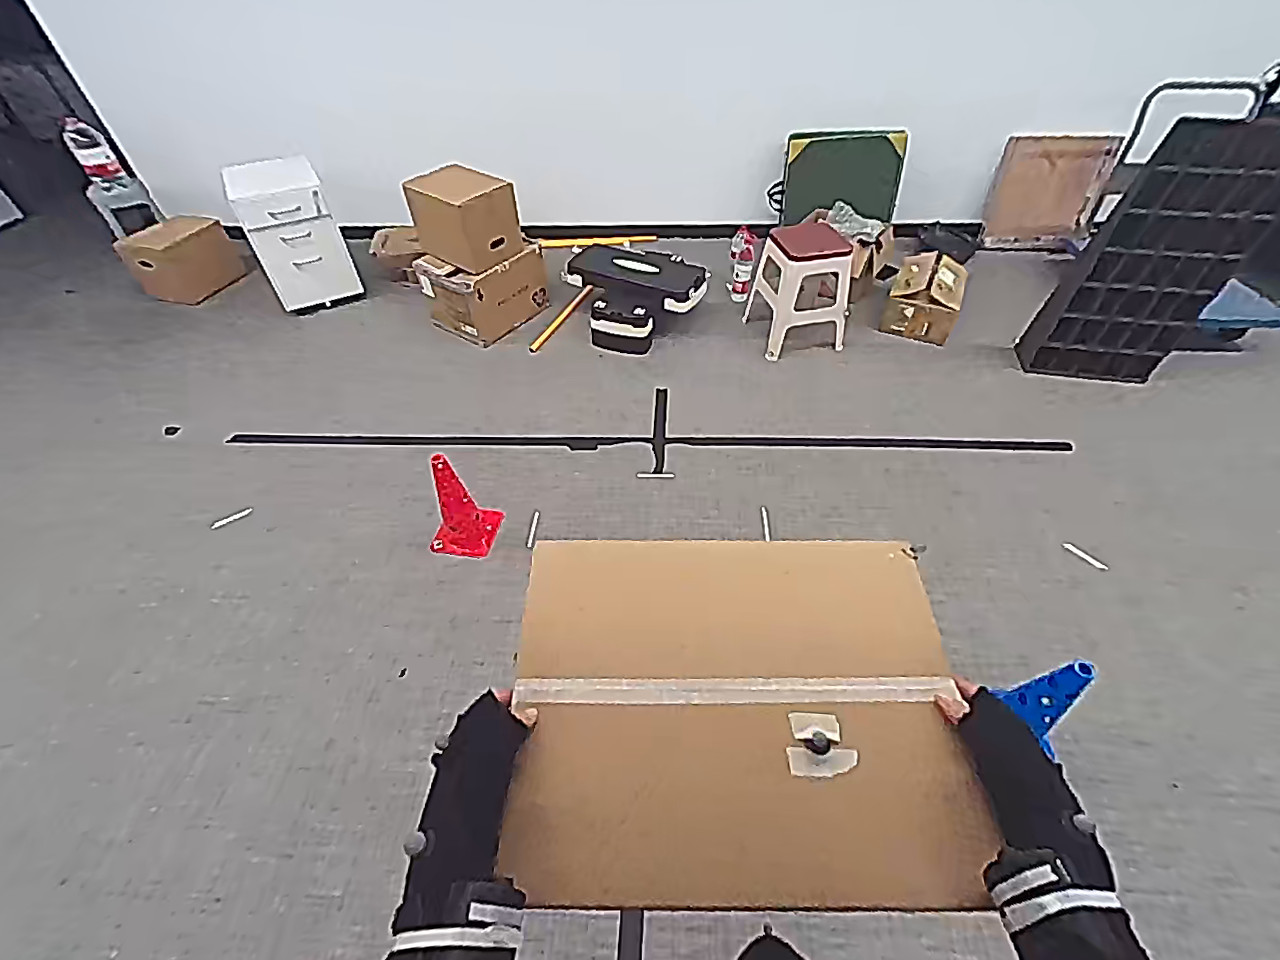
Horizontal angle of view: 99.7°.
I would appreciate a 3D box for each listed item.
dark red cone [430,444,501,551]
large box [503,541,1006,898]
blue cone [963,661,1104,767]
[{"bbox_3d":[-0.590,0.042,1.718,0.201,0.394,0.202,6,48,6],"label":"dark red cone"},{"bbox_3d":[0.087,0.280,0.626,0.408,0.320,0.320,0,55,0],"label":"large box"},{"bbox_3d":[0.946,0.522,1.272,0.192,0.380,0.193,4,47,4],"label":"blue cone"}]
